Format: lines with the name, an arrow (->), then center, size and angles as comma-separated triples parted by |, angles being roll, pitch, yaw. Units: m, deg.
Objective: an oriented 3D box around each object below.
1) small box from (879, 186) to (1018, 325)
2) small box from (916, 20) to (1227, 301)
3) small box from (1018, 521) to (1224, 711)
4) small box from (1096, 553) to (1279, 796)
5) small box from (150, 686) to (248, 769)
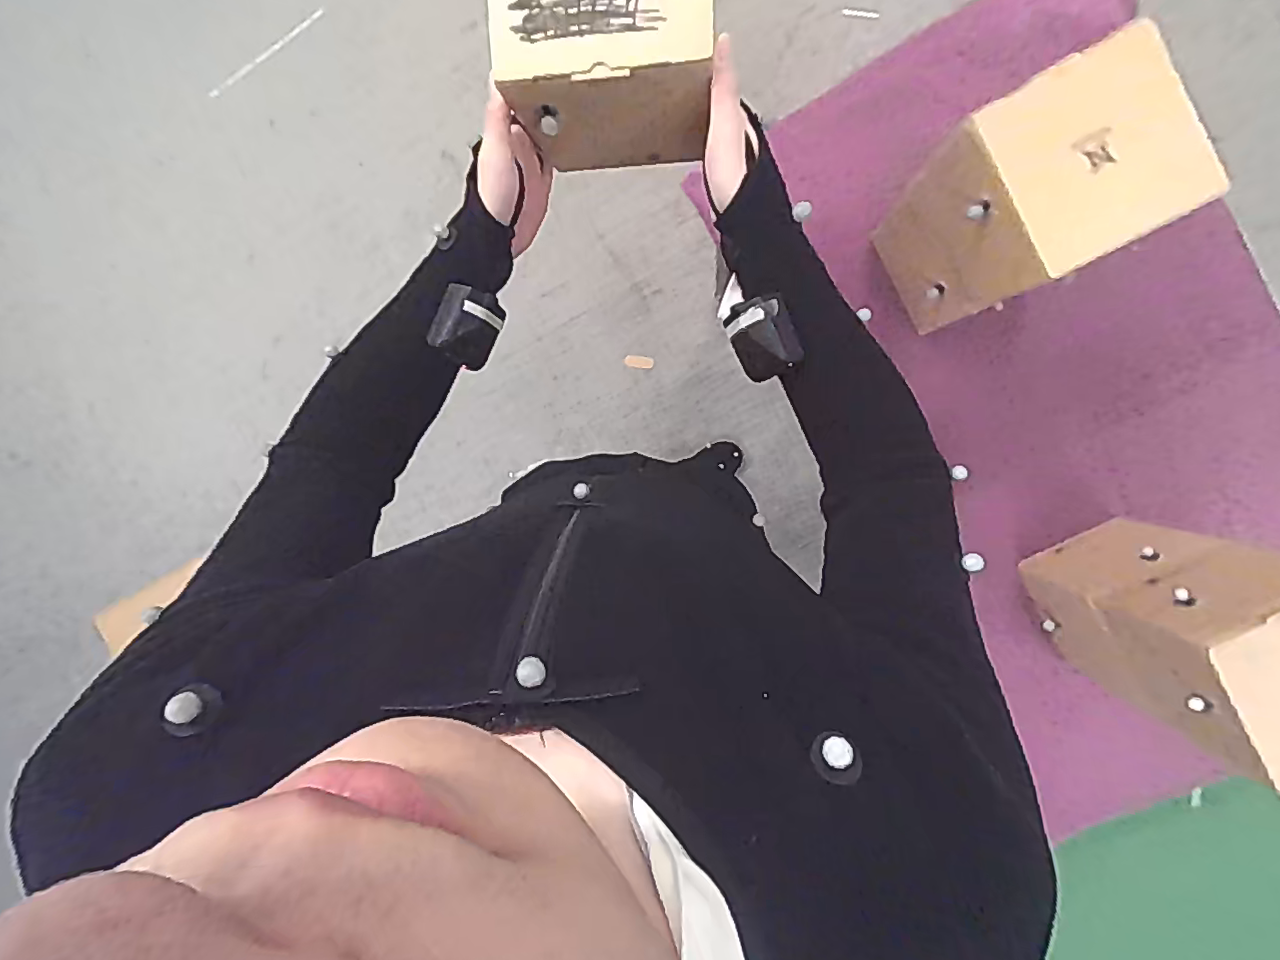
small box -> 0.459, -0.328, 0.738 | 0.168, 0.176, 0.179 | -26, 92, 9
small box -> 0.434, -0.311, 0.578 | 0.168, 0.176, 0.179 | -27, 91, 10
small box -> 0.685, 0.178, 0.756 | 0.168, 0.176, 0.179 | -28, 91, 9
small box -> 0.664, 0.193, 0.594 | 0.168, 0.176, 0.179 | -26, 91, 10
small box -> -1.496, 0.841, 1.847 | 0.168, 0.176, 0.179 | -21, 92, 9
